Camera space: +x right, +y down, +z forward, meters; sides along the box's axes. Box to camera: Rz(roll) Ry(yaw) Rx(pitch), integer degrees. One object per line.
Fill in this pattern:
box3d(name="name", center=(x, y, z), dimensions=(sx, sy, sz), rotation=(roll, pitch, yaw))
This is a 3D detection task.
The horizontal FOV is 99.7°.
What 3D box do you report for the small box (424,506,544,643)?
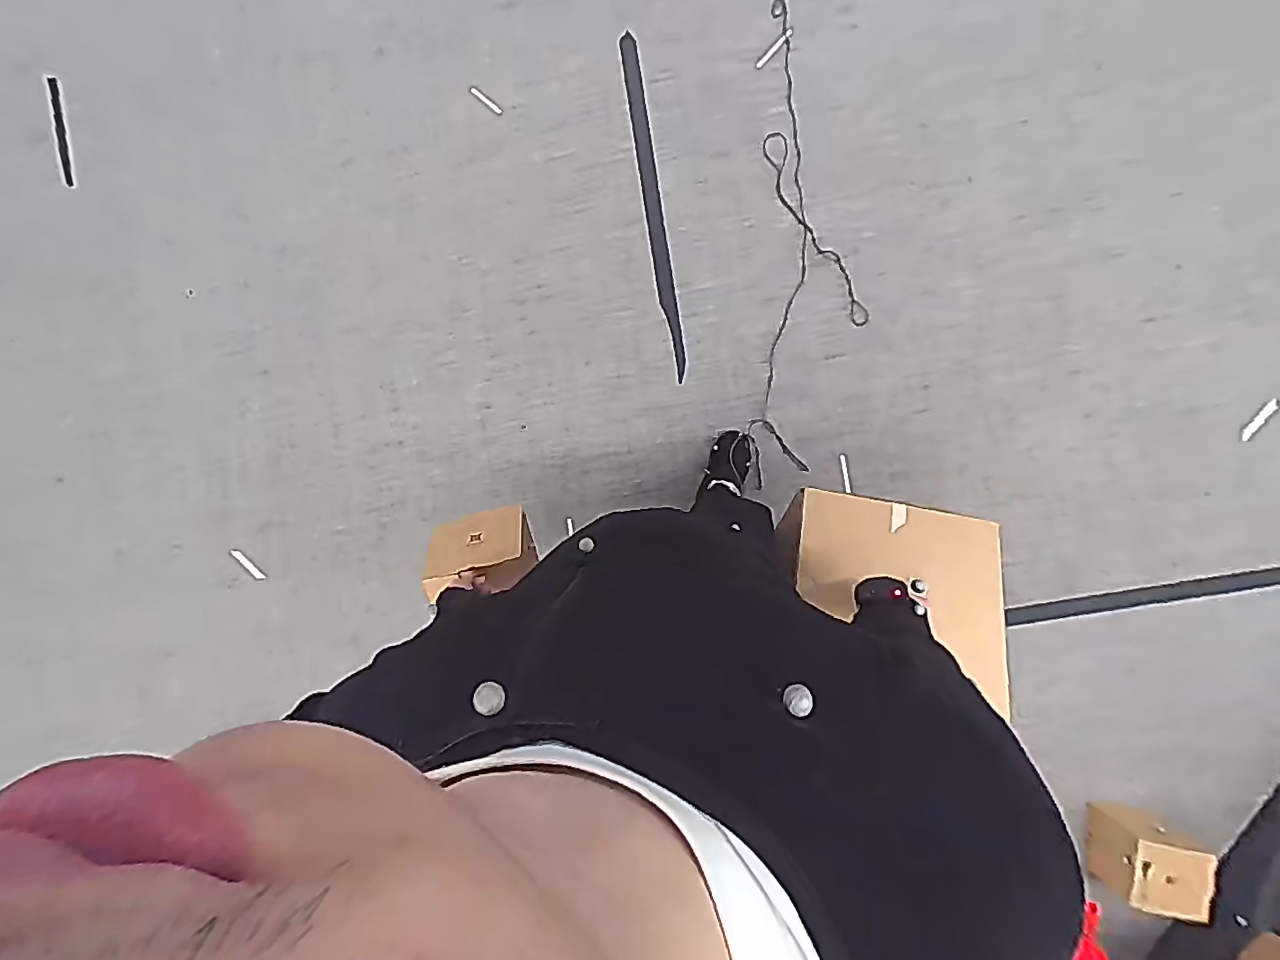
box3d(name="small box", center=(-0.276, 0.177, 0.995), dimensions=(0.168, 0.179, 0.176), rotation=(-12, 120, -5))
